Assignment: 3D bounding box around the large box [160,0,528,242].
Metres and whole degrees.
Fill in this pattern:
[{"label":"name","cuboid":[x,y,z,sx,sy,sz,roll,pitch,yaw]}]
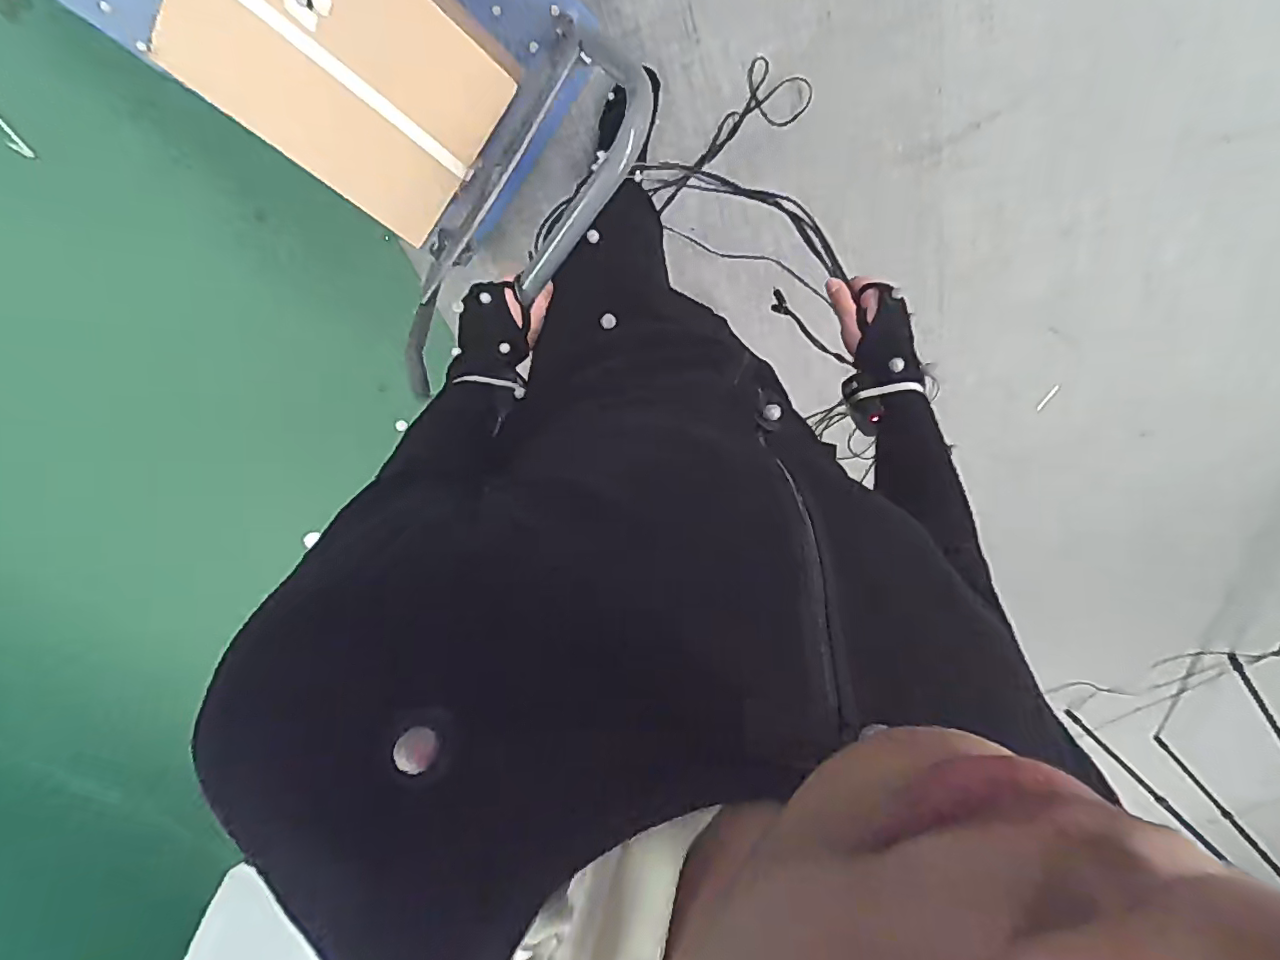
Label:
[{"label":"large box","cuboid":[-0.445,-0.692,0.905,0.408,0.320,0.320,33,118,-29]}]
